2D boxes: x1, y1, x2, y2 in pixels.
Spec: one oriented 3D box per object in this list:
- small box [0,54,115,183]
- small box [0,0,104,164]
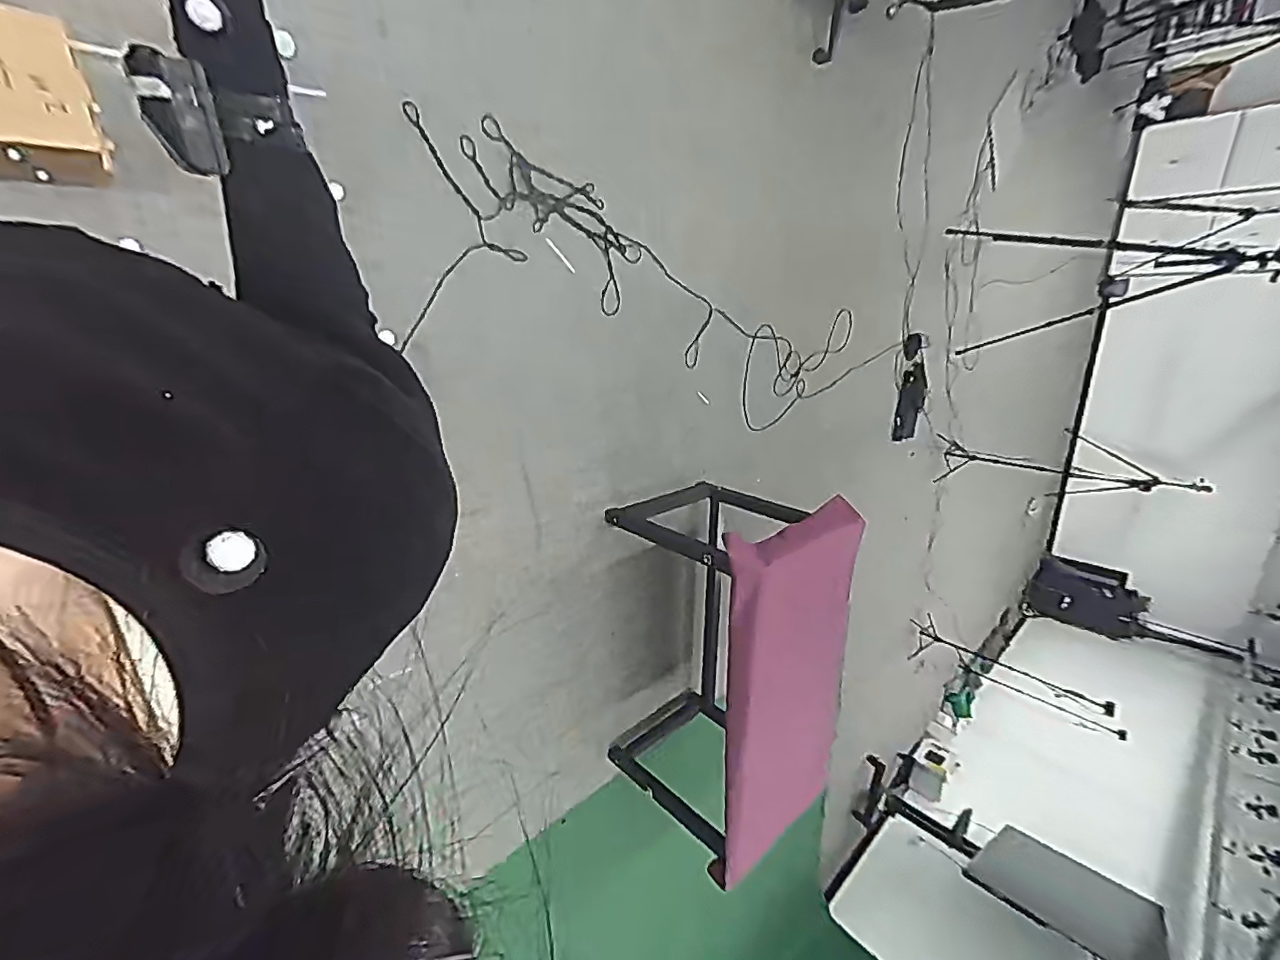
[{"bbox_3d":[-1.013,-0.604,0.896,0.179,0.176,0.168,-18,115,-39],"label":"small box"},{"bbox_3d":[-0.910,-0.566,0.773,0.179,0.176,0.168,-17,115,-39],"label":"small box"}]
